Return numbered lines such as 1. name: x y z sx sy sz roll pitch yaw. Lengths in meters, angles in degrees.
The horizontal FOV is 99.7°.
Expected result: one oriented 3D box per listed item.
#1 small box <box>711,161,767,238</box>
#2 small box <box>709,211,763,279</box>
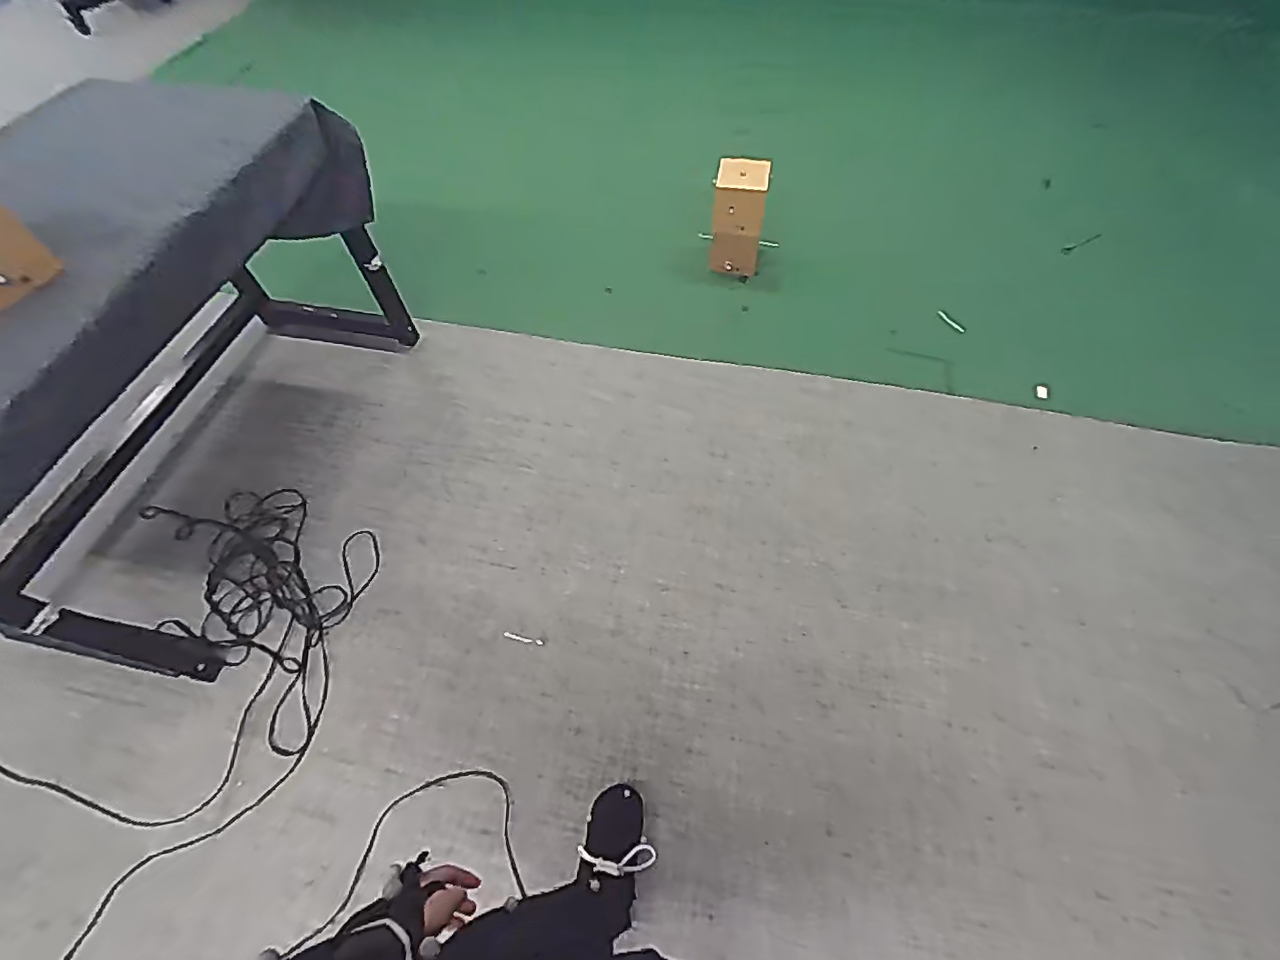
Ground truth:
1. small box: 0.335 -0.952 1.841 0.168 0.176 0.179 8 58 7
2. small box: 0.348 -0.869 1.981 0.168 0.176 0.179 9 60 8
